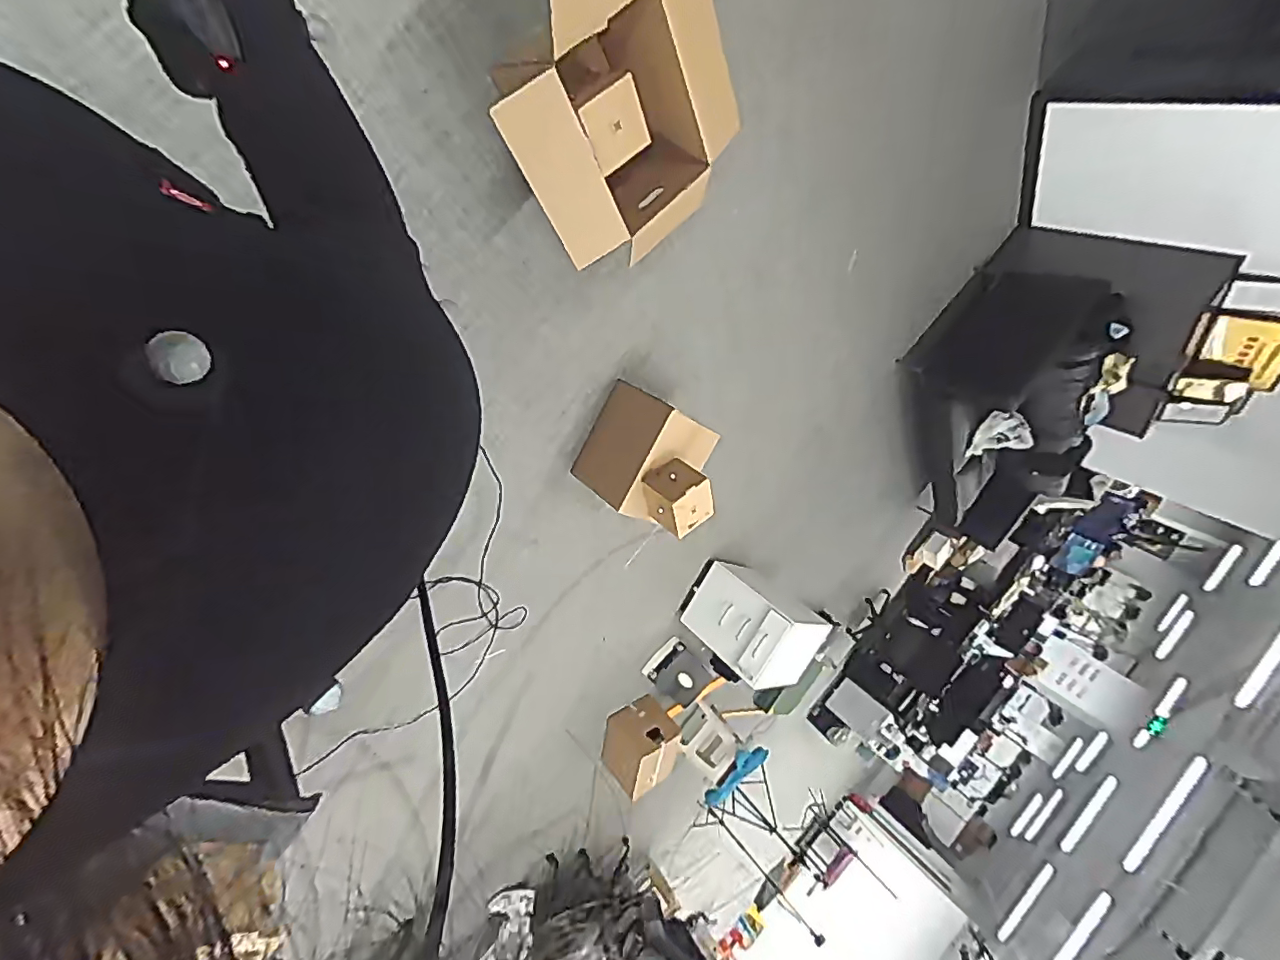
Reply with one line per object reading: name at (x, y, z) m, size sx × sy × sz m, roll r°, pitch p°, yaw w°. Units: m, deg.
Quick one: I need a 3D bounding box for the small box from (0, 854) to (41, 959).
small box at (-0.859, 0.595, 0.643) m, size 0.168 × 0.176 × 0.179 m, roll -10°, pitch 125°, yaw -39°

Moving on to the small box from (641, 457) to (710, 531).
small box at (0.120, 0.039, 1.876) m, size 0.168 × 0.176 × 0.179 m, roll -34°, pitch 135°, yaw -22°
